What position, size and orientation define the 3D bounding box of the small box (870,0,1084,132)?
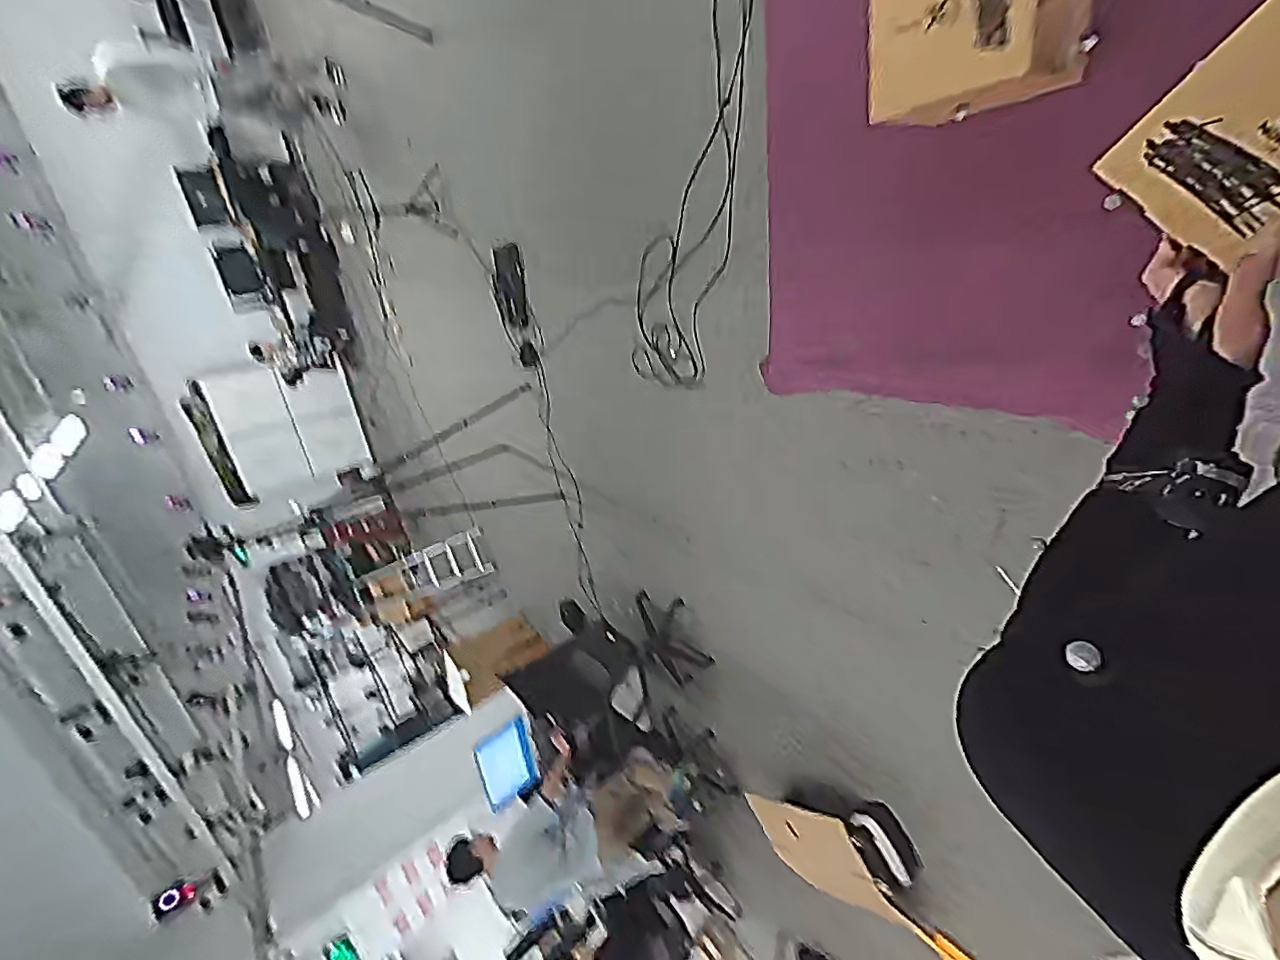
[{"bbox_3d":[0.397,-0.530,0.637,0.179,0.176,0.168,18,124,51],"label":"small box"}]
